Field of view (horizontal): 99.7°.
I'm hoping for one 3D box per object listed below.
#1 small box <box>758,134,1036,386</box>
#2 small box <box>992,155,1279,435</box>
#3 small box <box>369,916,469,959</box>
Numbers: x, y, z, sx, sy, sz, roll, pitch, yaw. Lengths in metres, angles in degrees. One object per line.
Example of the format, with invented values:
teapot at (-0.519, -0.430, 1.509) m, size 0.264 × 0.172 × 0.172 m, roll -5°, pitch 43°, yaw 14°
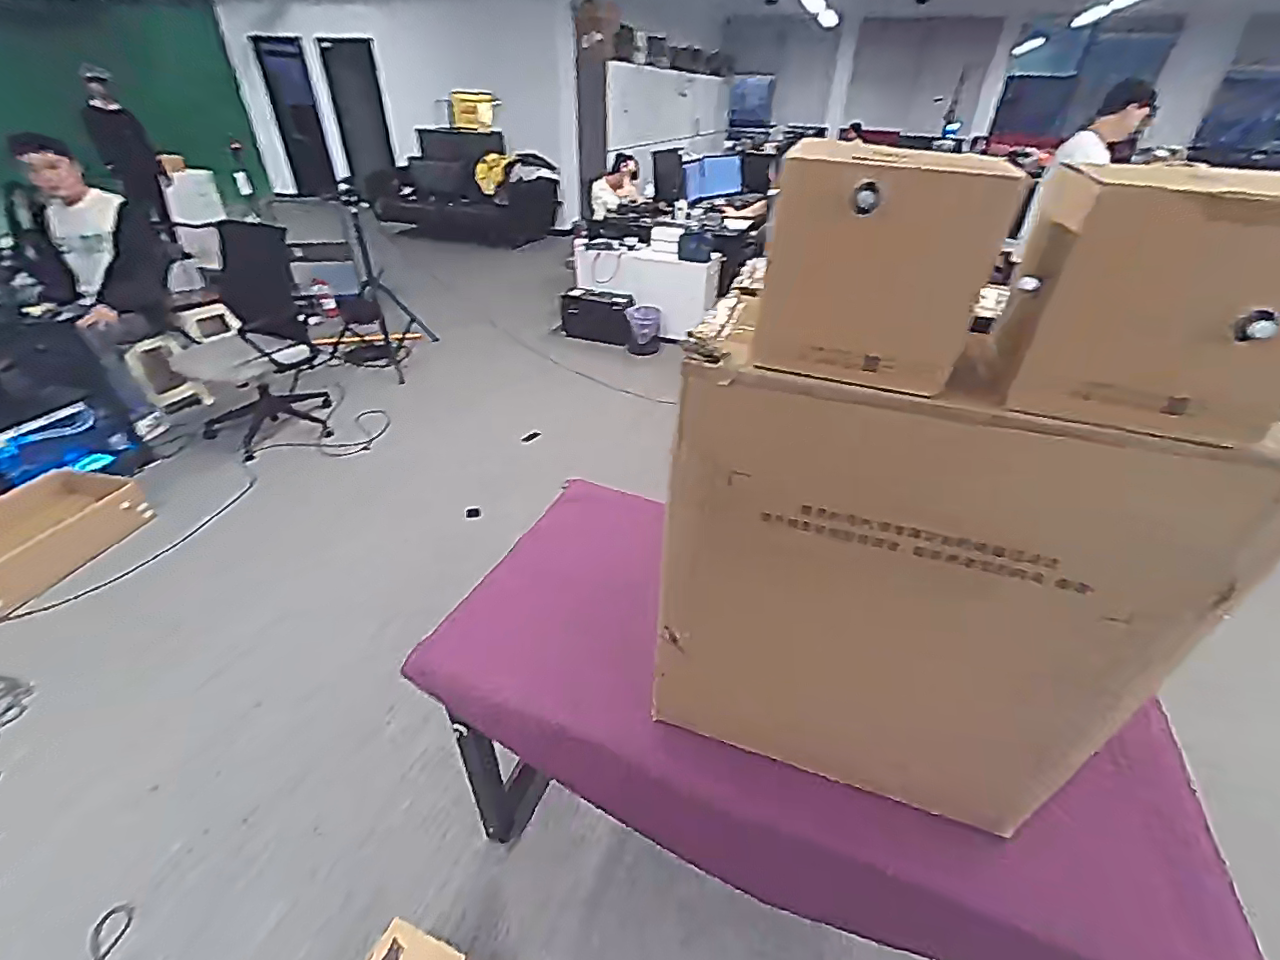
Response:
small box at (0.210, -0.205, 0.488) m, size 0.168 × 0.176 × 0.179 m, roll 13°, pitch 36°, yaw 15°
small box at (0.410, -0.155, 0.434) m, size 0.168 × 0.176 × 0.179 m, roll 16°, pitch 37°, yaw 18°
small box at (-0.450, 1.019, 1.066) m, size 0.179 × 0.176 × 0.168 m, roll 15°, pitch 37°, yaw 15°
